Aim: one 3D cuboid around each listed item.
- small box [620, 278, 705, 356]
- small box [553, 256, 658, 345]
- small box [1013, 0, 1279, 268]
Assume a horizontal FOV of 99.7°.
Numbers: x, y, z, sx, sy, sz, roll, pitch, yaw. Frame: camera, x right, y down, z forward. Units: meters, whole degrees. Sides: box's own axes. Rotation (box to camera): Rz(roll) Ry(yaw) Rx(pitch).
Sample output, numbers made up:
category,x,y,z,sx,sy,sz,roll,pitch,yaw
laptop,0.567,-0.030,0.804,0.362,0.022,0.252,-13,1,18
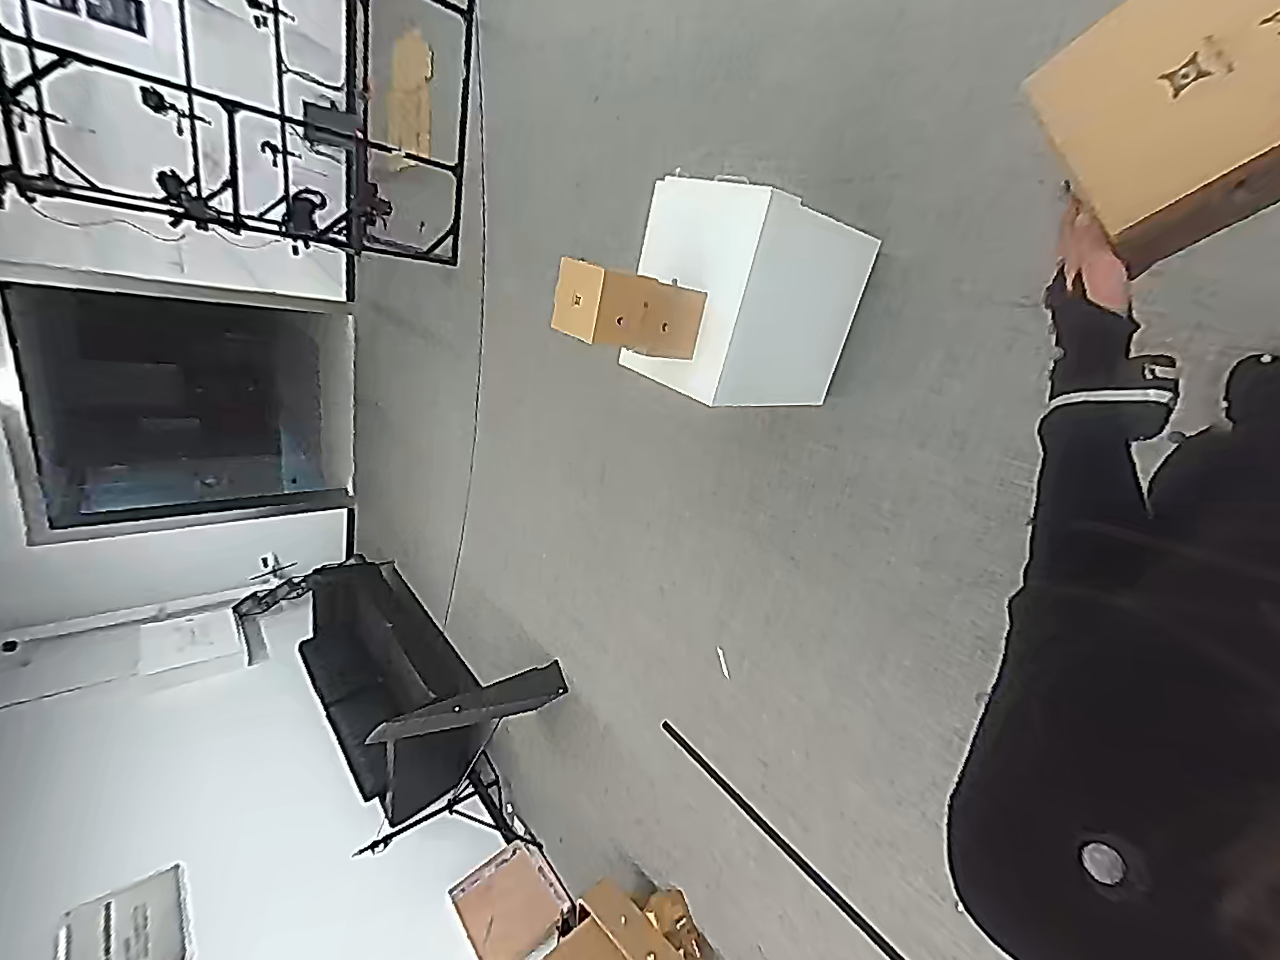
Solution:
category,x,y,z,sx,sy,sz,roll,pitch,yaw
small box,0.045,-0.424,1.392,0.168,0.176,0.179,31,117,41
small box,-0.081,-0.424,1.289,0.179,0.176,0.168,33,119,41
small box,0.465,-0.312,0.461,0.179,0.176,0.168,-31,72,40
